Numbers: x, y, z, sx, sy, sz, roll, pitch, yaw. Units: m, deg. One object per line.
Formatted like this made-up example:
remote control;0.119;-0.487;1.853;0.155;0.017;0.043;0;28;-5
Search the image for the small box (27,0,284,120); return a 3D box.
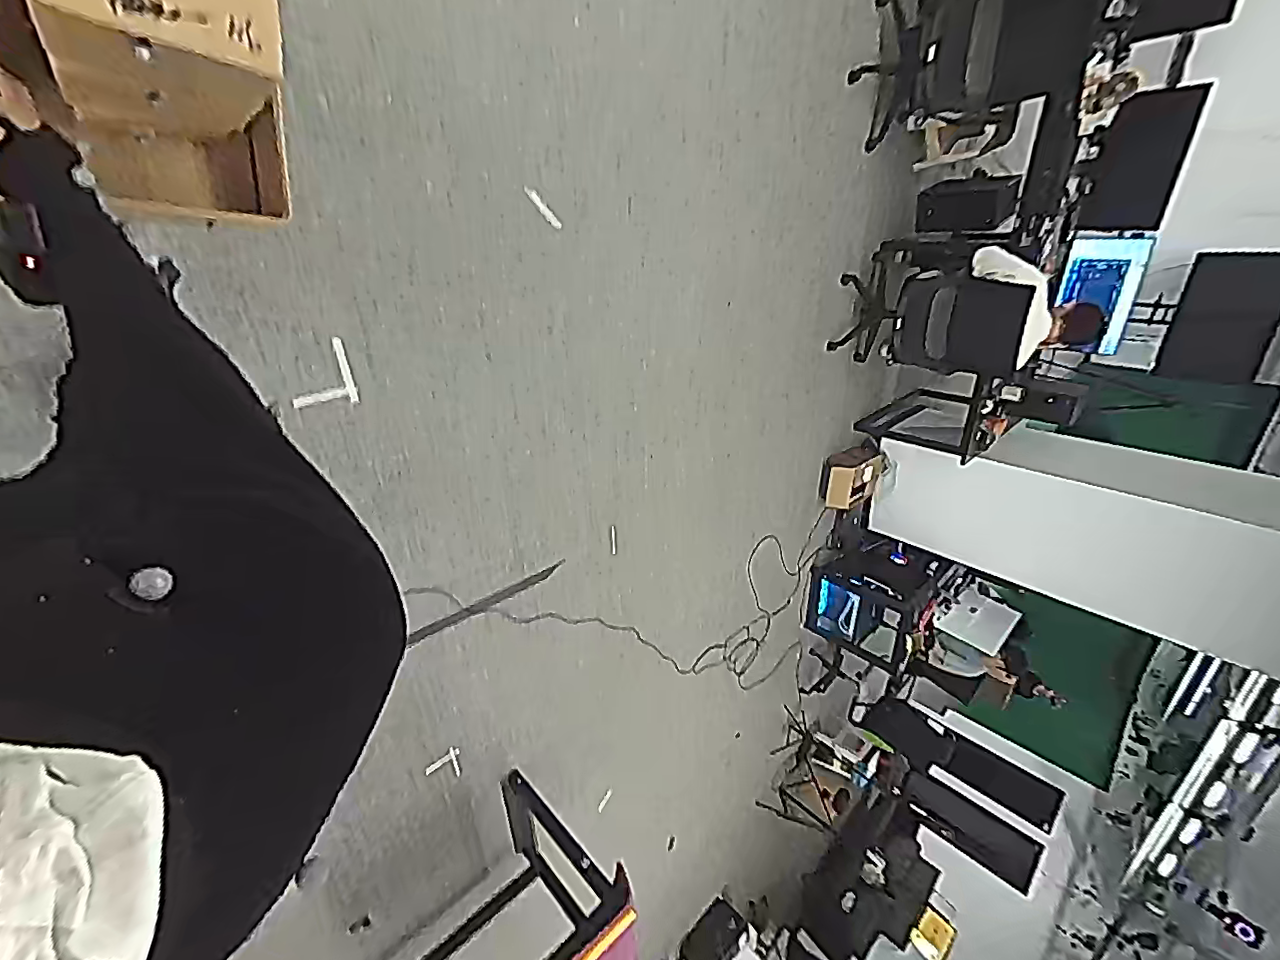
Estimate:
small box;-0.438;-0.460;0.484;0.168;0.176;0.179;-9;111;-41
